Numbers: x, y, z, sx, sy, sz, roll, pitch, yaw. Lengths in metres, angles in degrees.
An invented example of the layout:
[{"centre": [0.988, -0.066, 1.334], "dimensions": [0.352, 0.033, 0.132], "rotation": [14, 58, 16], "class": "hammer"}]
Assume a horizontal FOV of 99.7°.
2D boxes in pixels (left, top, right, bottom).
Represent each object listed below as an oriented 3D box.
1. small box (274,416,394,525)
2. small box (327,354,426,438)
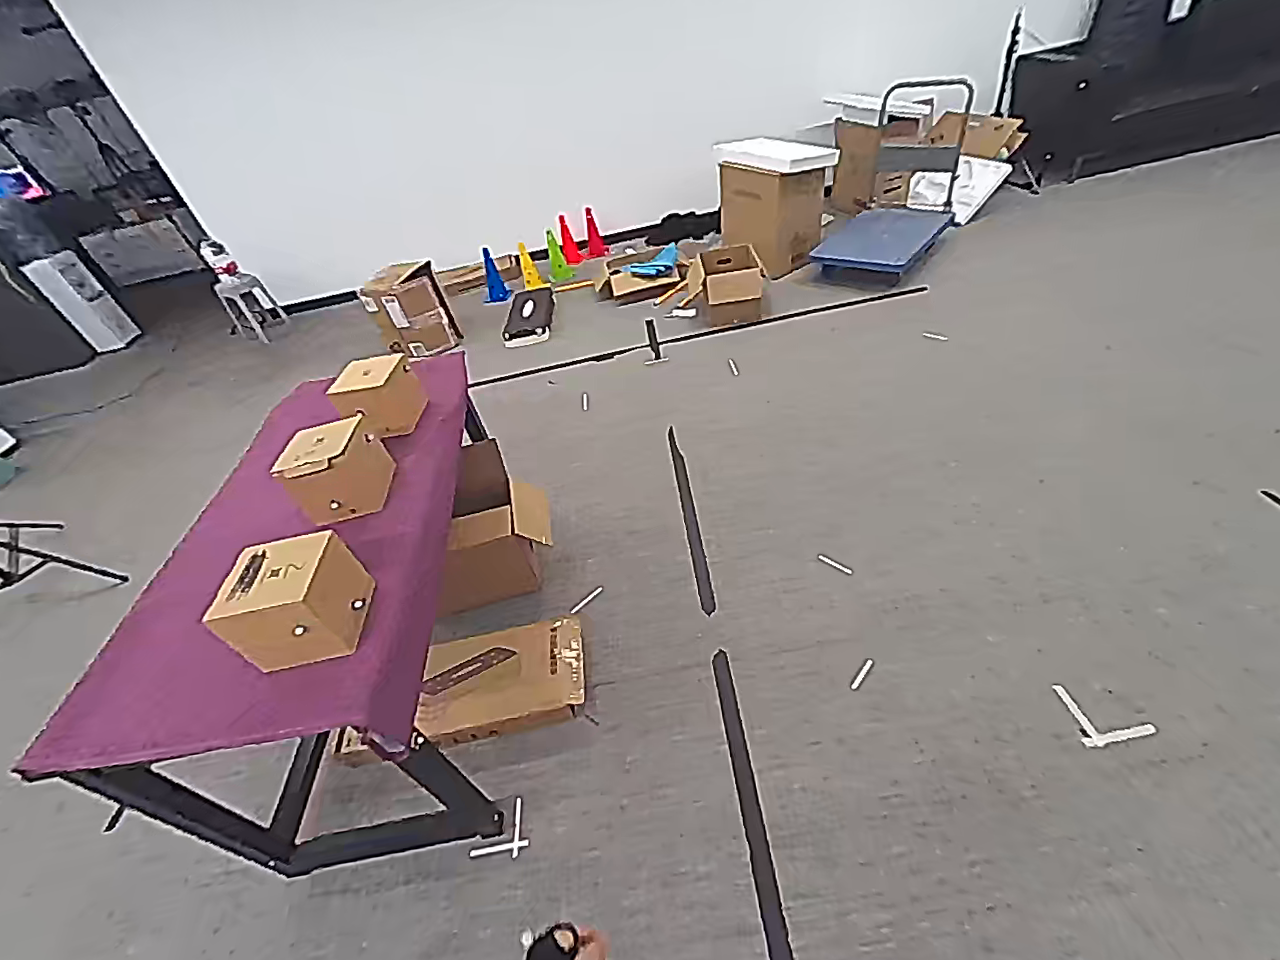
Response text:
[{"centre": [-0.717, -0.022, 1.292], "dimensions": [0.168, 0.176, 0.179], "rotation": [-15, 41, 2], "class": "small box"}, {"centre": [-0.735, -0.230, 1.532], "dimensions": [0.168, 0.176, 0.179], "rotation": [-8, 41, 6], "class": "small box"}]
